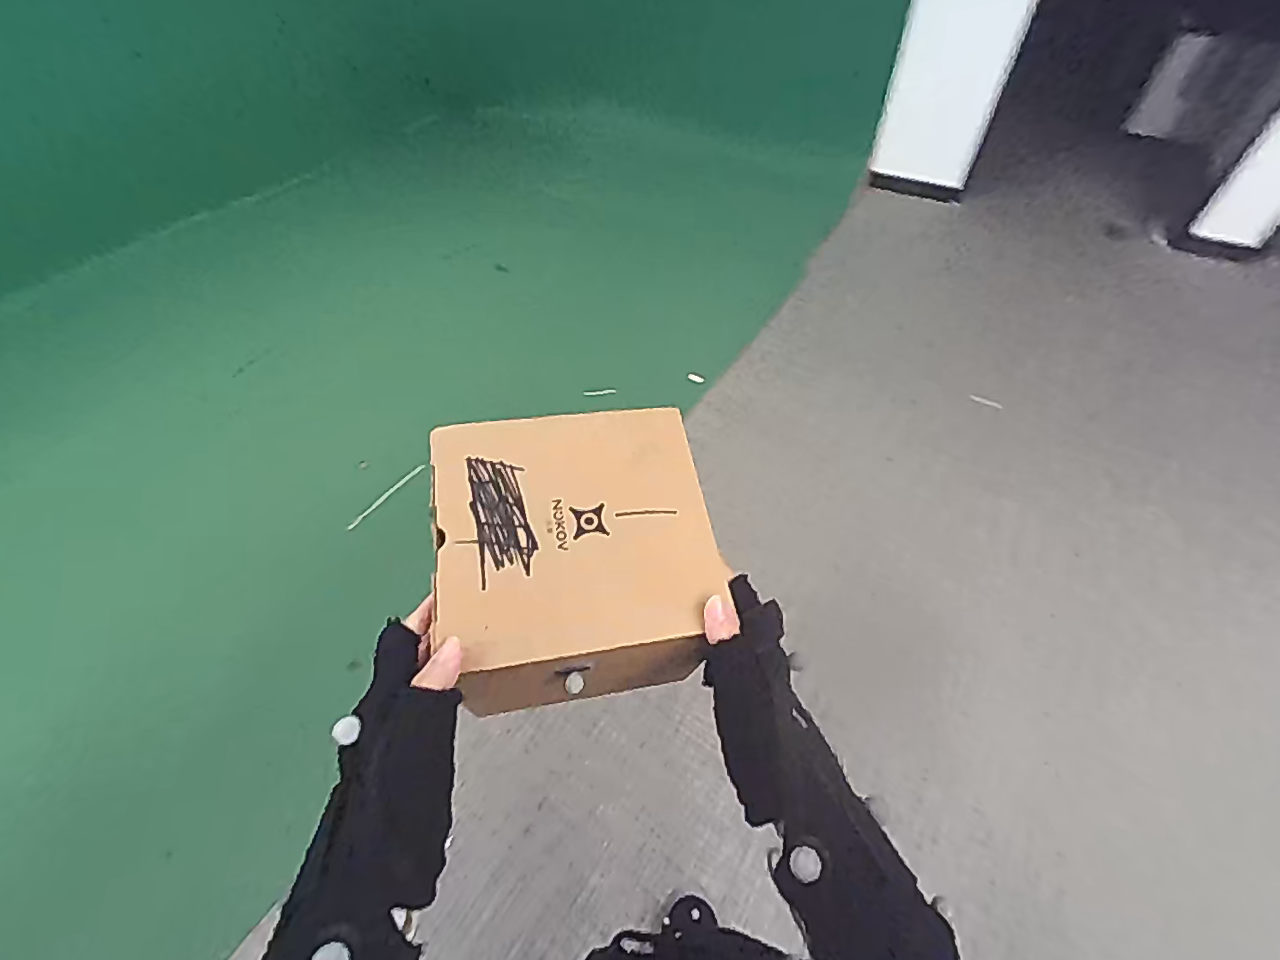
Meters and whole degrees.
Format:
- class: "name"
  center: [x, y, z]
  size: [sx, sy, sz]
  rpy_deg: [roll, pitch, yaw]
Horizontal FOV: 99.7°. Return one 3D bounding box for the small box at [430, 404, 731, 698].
- class: "small box"
  center: [-0.049, 0.061, 0.415]
  size: [0.179, 0.176, 0.168]
  rpy_deg: [-5, 61, -10]
